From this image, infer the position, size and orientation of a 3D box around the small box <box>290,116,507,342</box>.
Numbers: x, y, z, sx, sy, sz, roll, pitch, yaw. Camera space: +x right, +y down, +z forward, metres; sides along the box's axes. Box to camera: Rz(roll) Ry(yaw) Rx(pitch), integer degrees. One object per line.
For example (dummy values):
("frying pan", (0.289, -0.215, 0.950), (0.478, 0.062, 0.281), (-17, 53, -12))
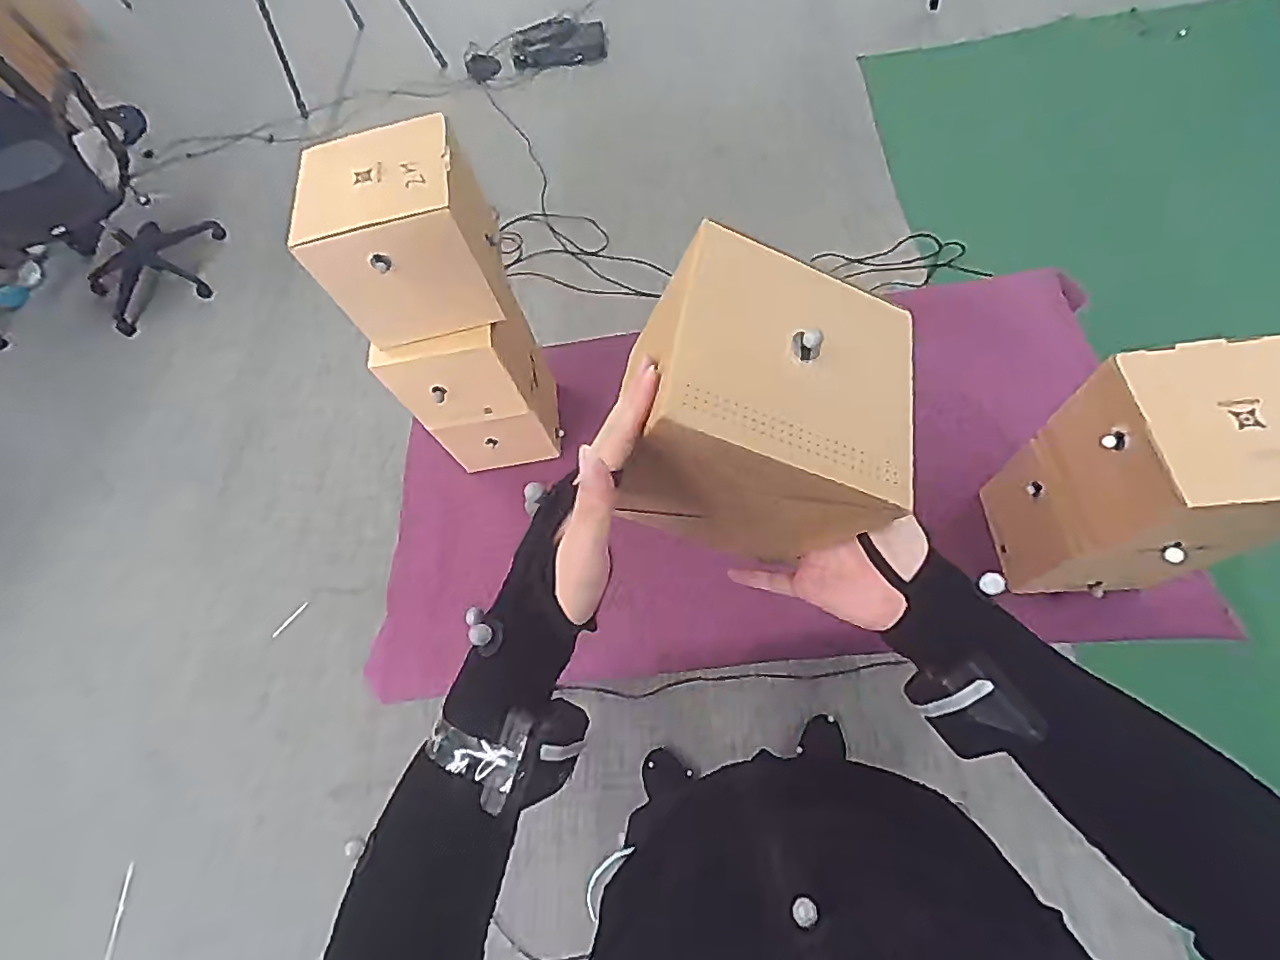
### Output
("small box", (-0.277, -0.292, 0.657), (0.179, 0.176, 0.168), (-12, 64, 2))

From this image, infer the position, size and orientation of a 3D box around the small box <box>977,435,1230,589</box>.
("small box", (0.597, 0.046, 0.728), (0.179, 0.176, 0.168), (-3, 64, 7))

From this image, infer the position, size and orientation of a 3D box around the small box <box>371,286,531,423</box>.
("small box", (-0.264, -0.199, 0.794), (0.168, 0.176, 0.179), (-9, 64, 4))

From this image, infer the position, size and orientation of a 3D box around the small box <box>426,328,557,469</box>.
("small box", (-0.248, -0.136, 0.942), (0.179, 0.176, 0.168), (-10, 64, 4))

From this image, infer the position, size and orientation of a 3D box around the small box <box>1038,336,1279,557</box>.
("small box", (0.576, -0.027, 0.584), (0.168, 0.176, 0.179), (-5, 64, 9))
